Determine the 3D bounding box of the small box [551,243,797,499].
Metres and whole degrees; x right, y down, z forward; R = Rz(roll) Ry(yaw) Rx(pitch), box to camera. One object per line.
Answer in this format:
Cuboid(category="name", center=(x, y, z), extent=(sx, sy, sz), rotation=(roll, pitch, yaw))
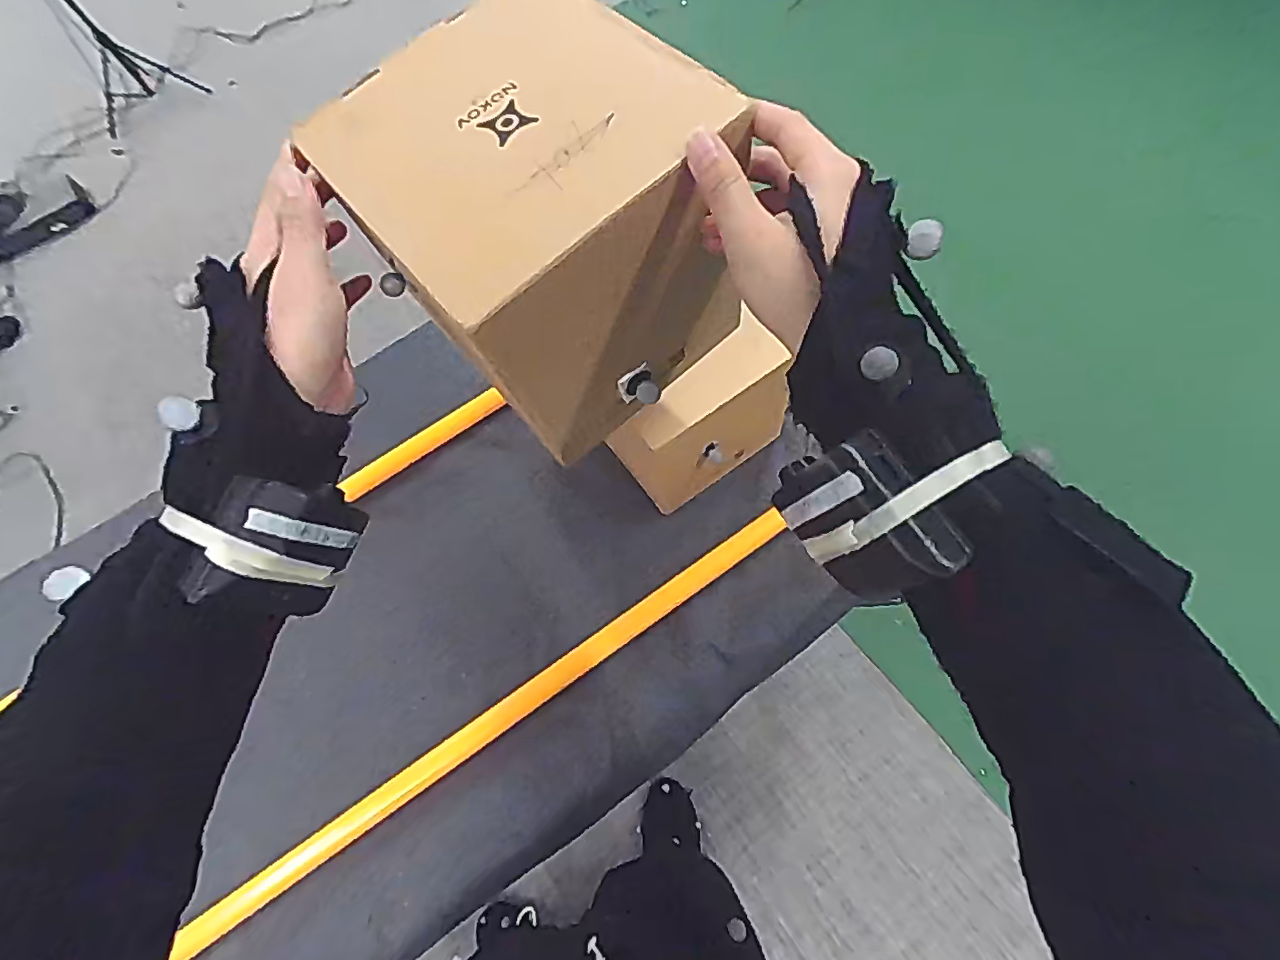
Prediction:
Cuboid(category="small box", center=(0.037, -0.100, 0.570), extent=(0.168, 0.176, 0.179), rotation=(-35, 66, -8))
